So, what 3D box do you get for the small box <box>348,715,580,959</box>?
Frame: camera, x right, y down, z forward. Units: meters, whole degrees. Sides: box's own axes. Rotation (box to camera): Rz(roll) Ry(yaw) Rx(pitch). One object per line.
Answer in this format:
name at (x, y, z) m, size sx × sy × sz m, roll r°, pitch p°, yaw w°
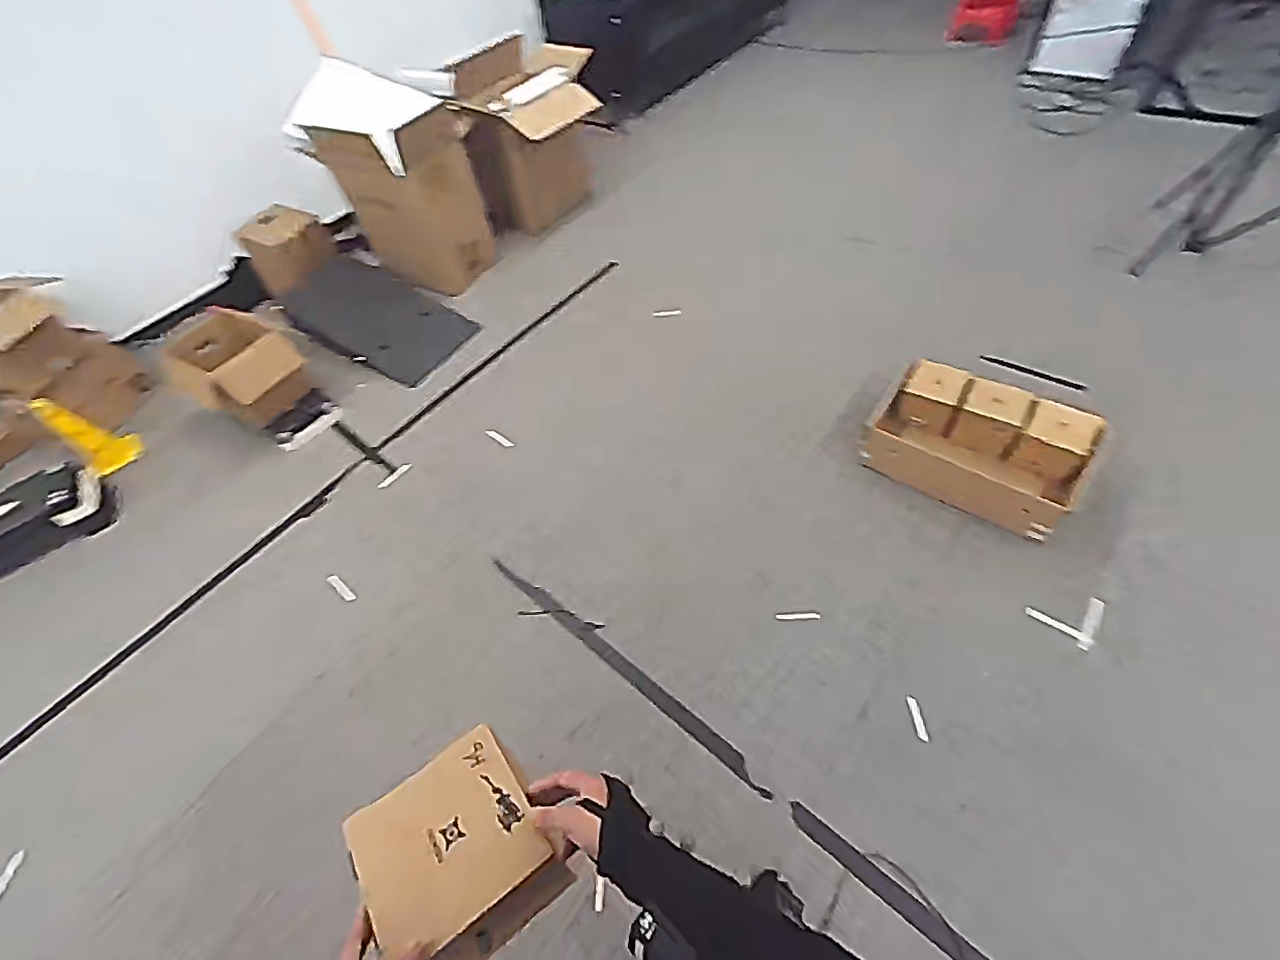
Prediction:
small box at (-0.190, 0.415, 0.617) m, size 0.179 × 0.176 × 0.168 m, roll -31°, pitch 52°, yaw -20°
